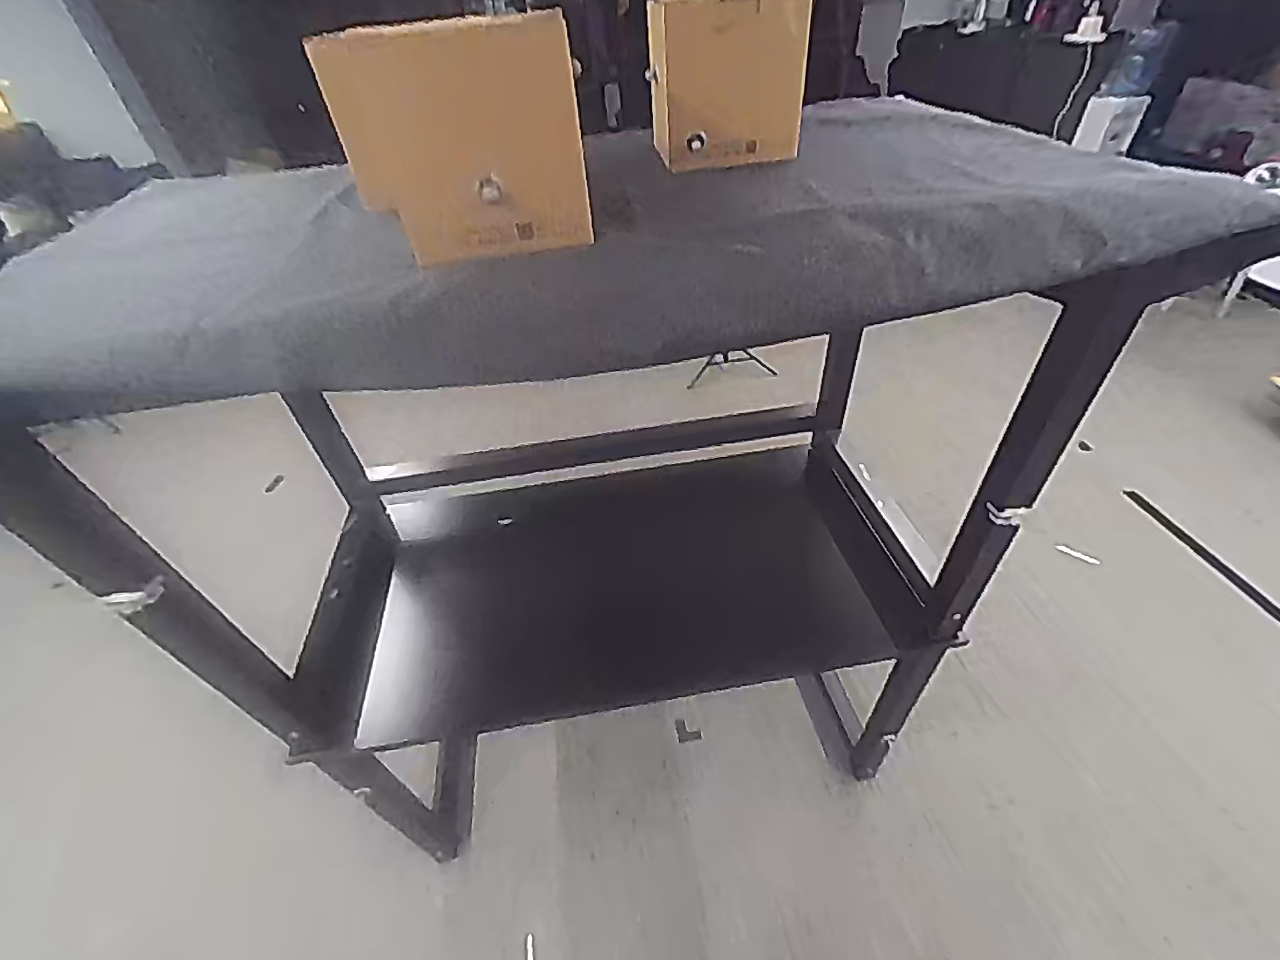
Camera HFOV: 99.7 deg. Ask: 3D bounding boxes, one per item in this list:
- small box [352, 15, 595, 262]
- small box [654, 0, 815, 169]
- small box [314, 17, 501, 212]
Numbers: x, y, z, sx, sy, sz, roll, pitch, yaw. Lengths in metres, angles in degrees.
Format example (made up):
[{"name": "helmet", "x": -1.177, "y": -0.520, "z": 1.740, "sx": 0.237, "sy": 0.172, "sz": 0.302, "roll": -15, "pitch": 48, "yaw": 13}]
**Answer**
[{"name": "small box", "x": -0.139, "y": -0.324, "z": 0.514, "sx": 0.168, "sy": 0.176, "sz": 0.179, "roll": -9, "pitch": 42, "yaw": -4}, {"name": "small box", "x": 0.112, "y": -0.514, "z": 0.698, "sx": 0.168, "sy": 0.176, "sz": 0.179, "roll": -6, "pitch": 42, "yaw": -1}, {"name": "small box", "x": -0.247, "y": -0.448, "z": 0.665, "sx": 0.179, "sy": 0.176, "sz": 0.168, "roll": -5, "pitch": 43, "yaw": 1}]
